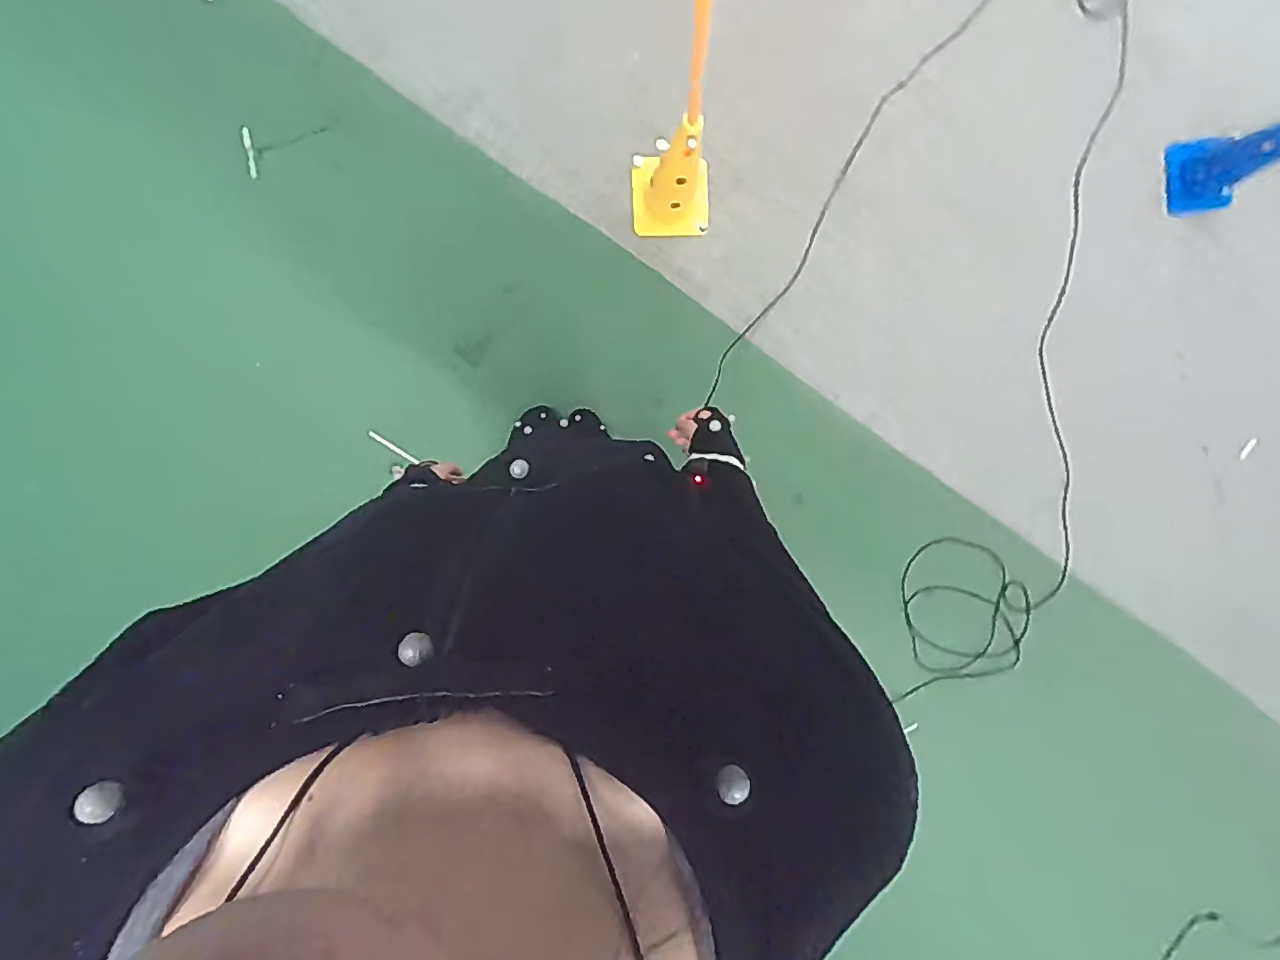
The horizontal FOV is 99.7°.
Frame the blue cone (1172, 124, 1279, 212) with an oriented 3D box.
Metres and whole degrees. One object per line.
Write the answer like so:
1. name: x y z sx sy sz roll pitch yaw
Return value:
1. blue cone: 1.613 -0.855 1.368 0.193 0.380 0.192 -11 95 -6
